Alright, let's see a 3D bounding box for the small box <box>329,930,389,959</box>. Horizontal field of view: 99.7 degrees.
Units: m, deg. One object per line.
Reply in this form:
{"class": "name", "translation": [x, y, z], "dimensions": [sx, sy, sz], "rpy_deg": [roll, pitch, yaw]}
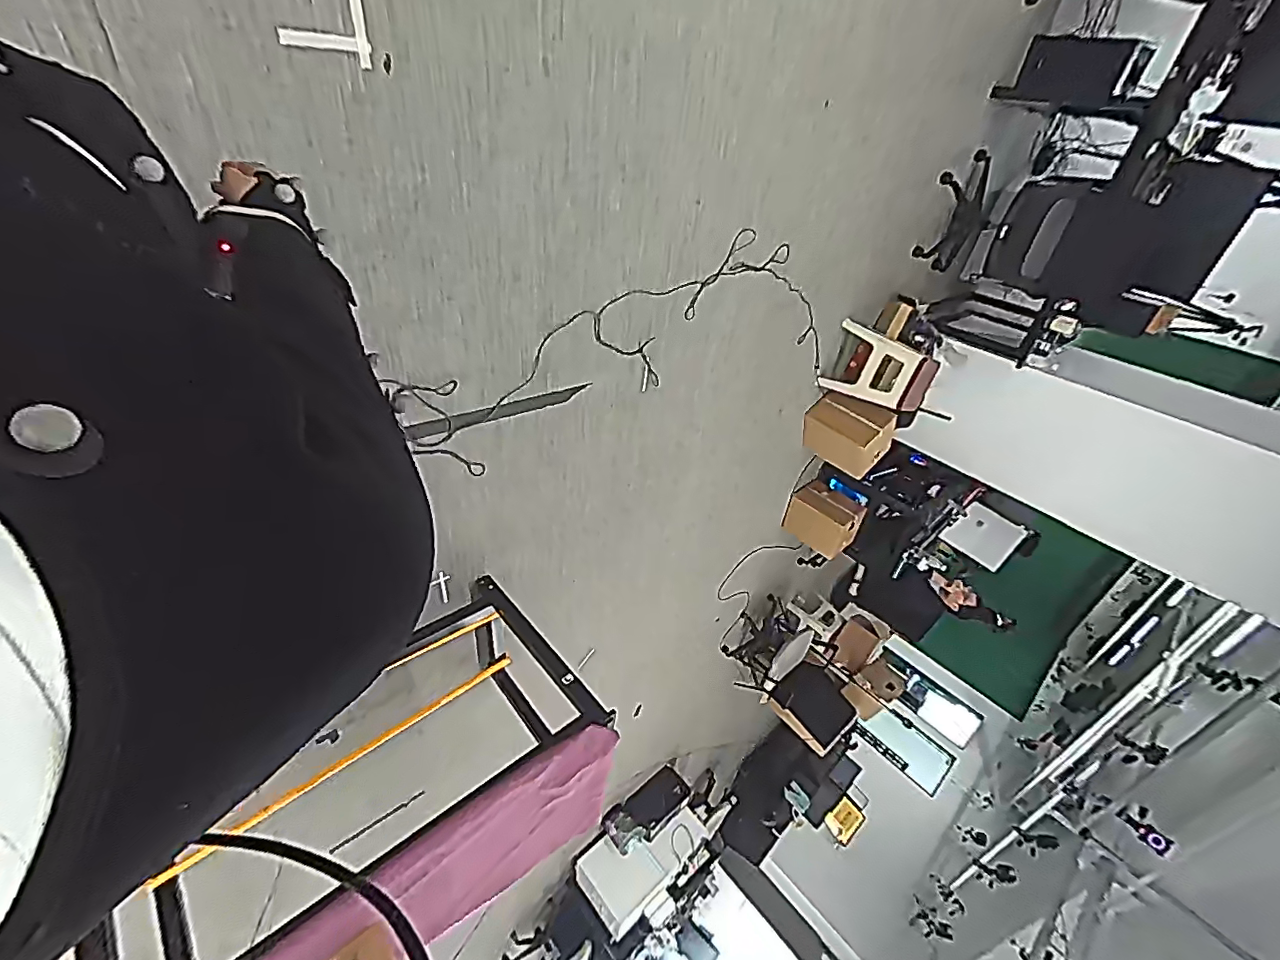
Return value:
{"class": "small box", "translation": [-0.648, 1.184, 1.229], "dimensions": [0.168, 0.176, 0.179], "rpy_deg": [-22, 134, -39]}
